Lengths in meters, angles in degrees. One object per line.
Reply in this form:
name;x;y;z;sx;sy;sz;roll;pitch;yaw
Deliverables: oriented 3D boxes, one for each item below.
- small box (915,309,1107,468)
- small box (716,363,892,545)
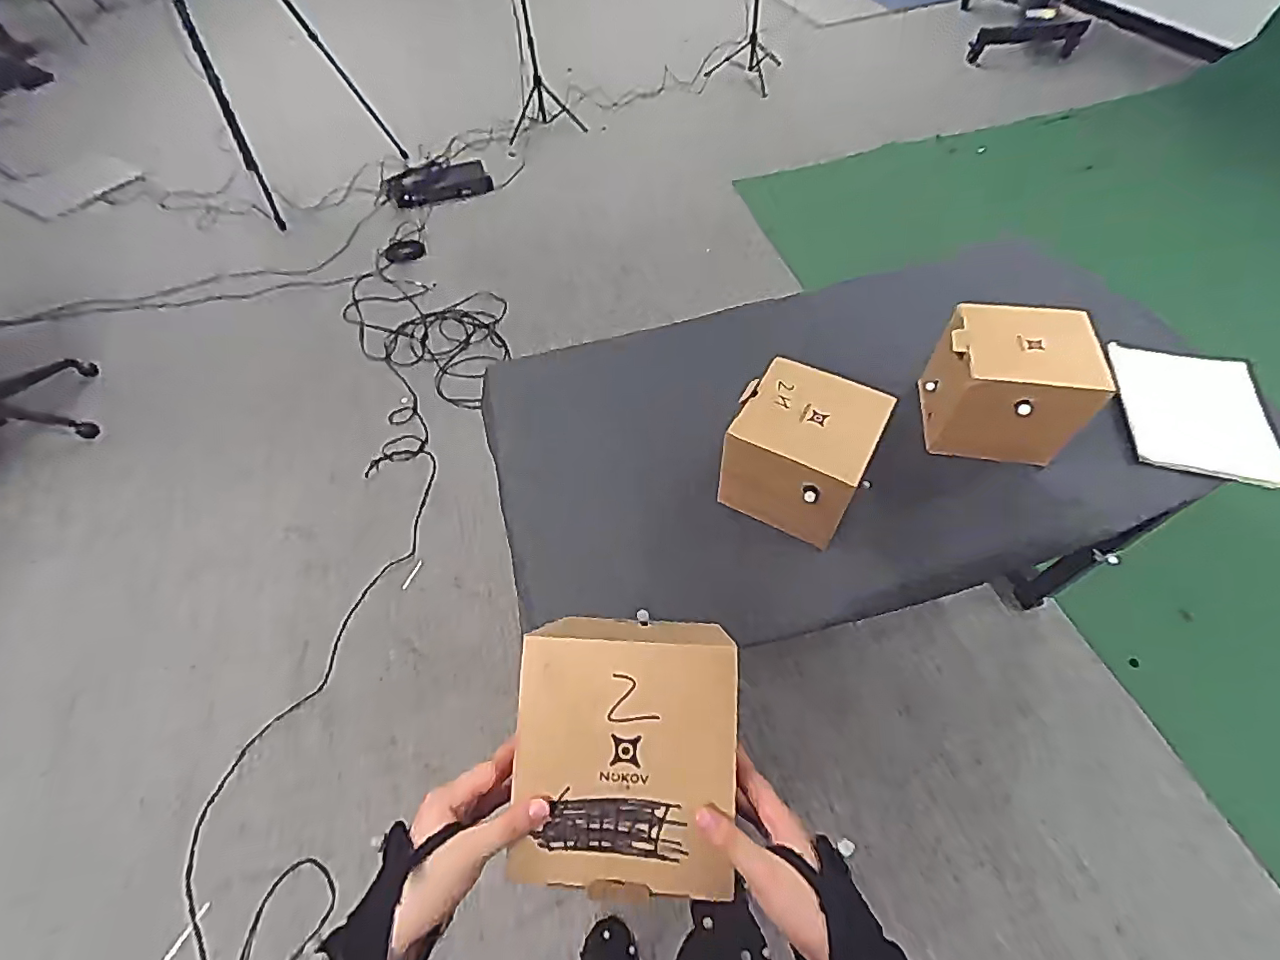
small box;0.548;-0.135;0.828;0.179;0.176;0.168;7;56;10
small box;0.224;-0.030;0.774;0.179;0.176;0.168;25;60;20
